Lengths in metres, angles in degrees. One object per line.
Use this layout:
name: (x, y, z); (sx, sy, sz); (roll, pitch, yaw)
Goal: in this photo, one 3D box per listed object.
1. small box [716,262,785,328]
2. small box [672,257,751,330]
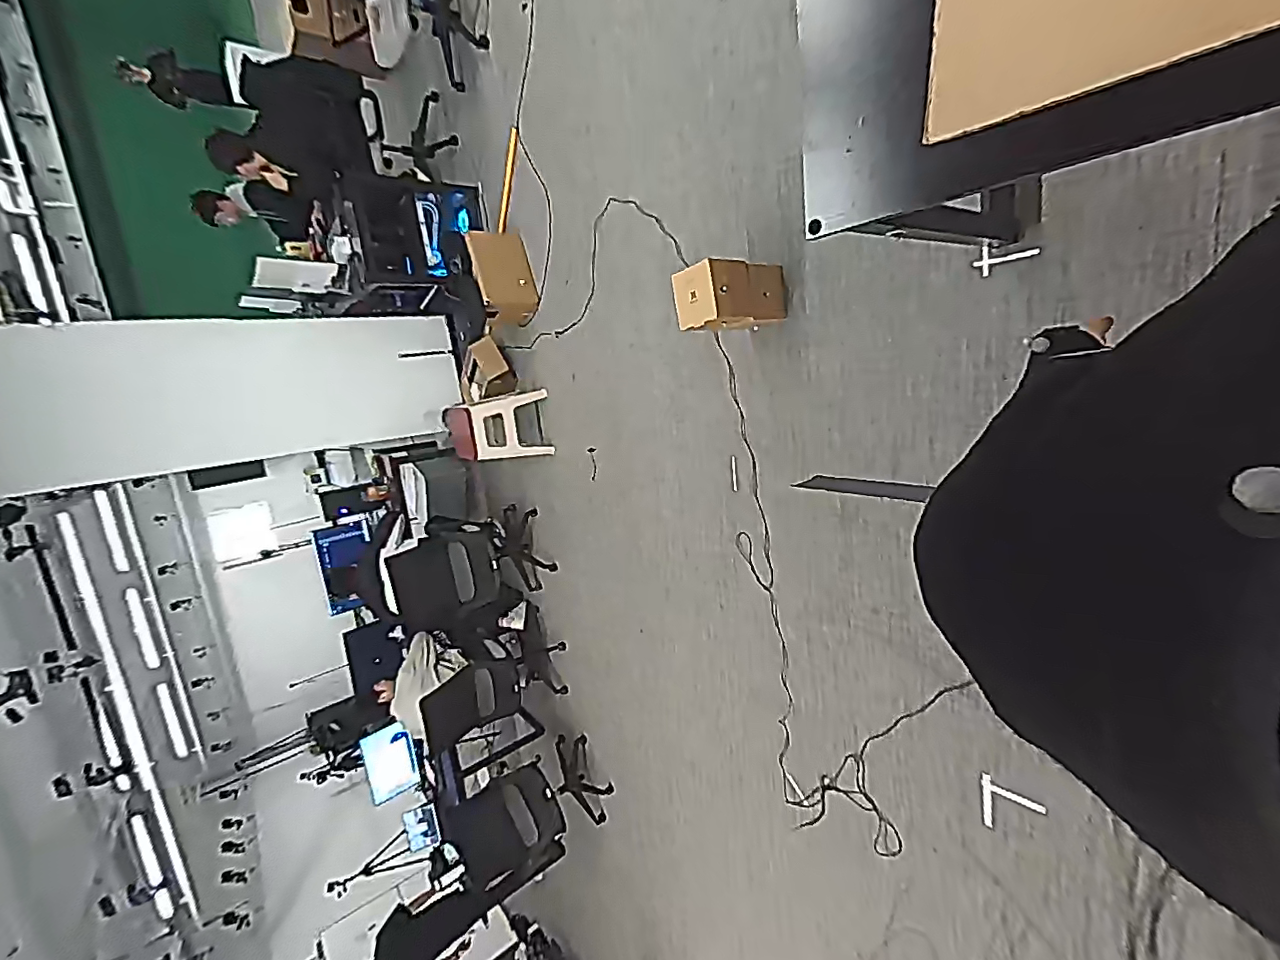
small box: (0.355, -0.602, 1.771); (0.168, 0.176, 0.179); (3, 105, 53)
small box: (0.226, -0.574, 1.675); (0.168, 0.176, 0.179); (-3, 99, 52)
